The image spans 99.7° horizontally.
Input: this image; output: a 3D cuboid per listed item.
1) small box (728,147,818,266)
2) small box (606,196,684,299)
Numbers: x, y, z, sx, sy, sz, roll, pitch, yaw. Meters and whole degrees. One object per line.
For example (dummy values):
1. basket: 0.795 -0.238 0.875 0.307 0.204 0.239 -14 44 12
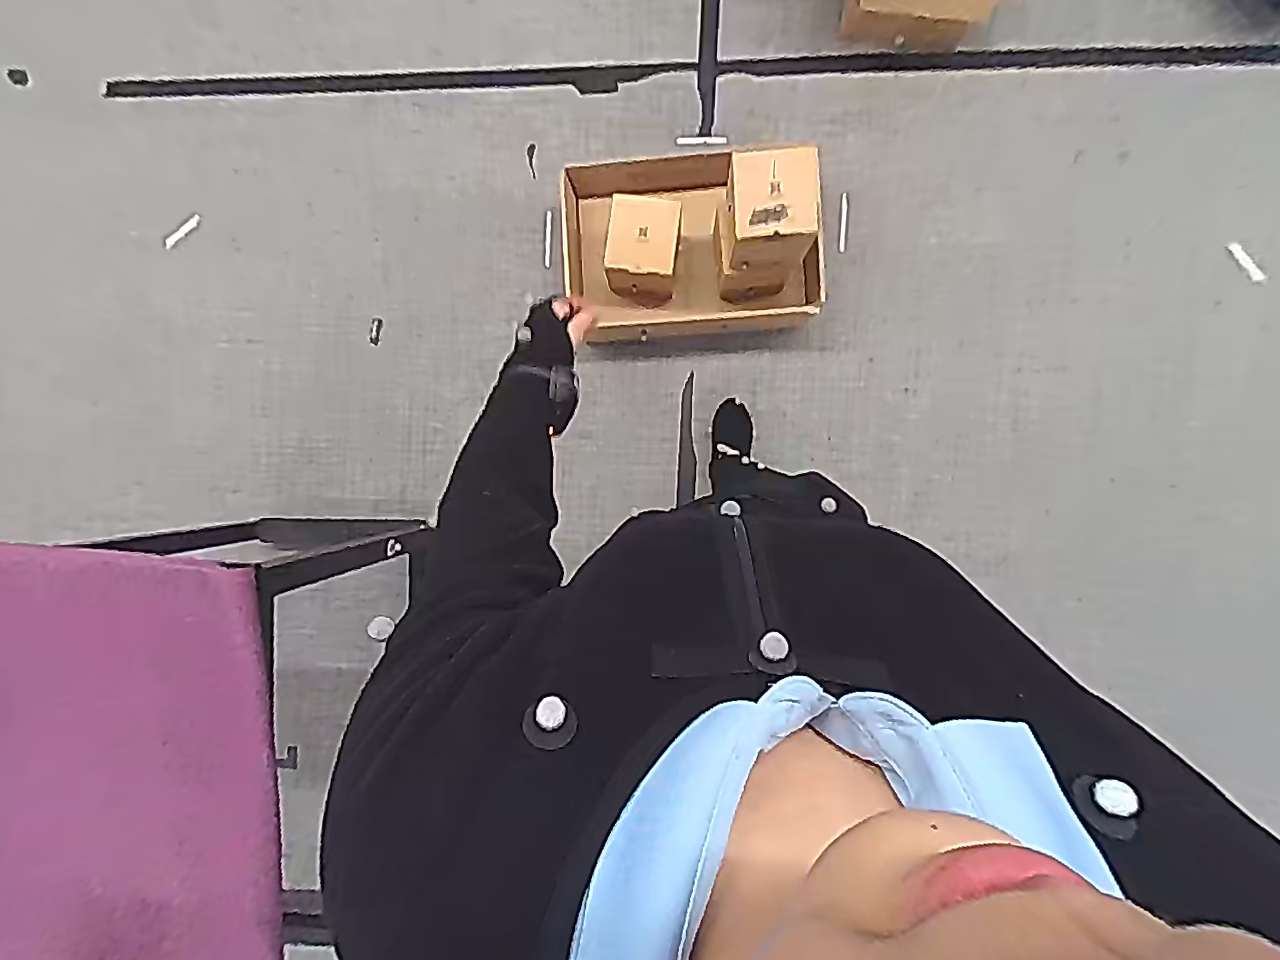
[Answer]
1. small box: 0.280 -0.576 1.166 0.168 0.176 0.179 -2 90 5
2. small box: 0.014 -0.575 1.352 0.168 0.176 0.179 8 91 3
